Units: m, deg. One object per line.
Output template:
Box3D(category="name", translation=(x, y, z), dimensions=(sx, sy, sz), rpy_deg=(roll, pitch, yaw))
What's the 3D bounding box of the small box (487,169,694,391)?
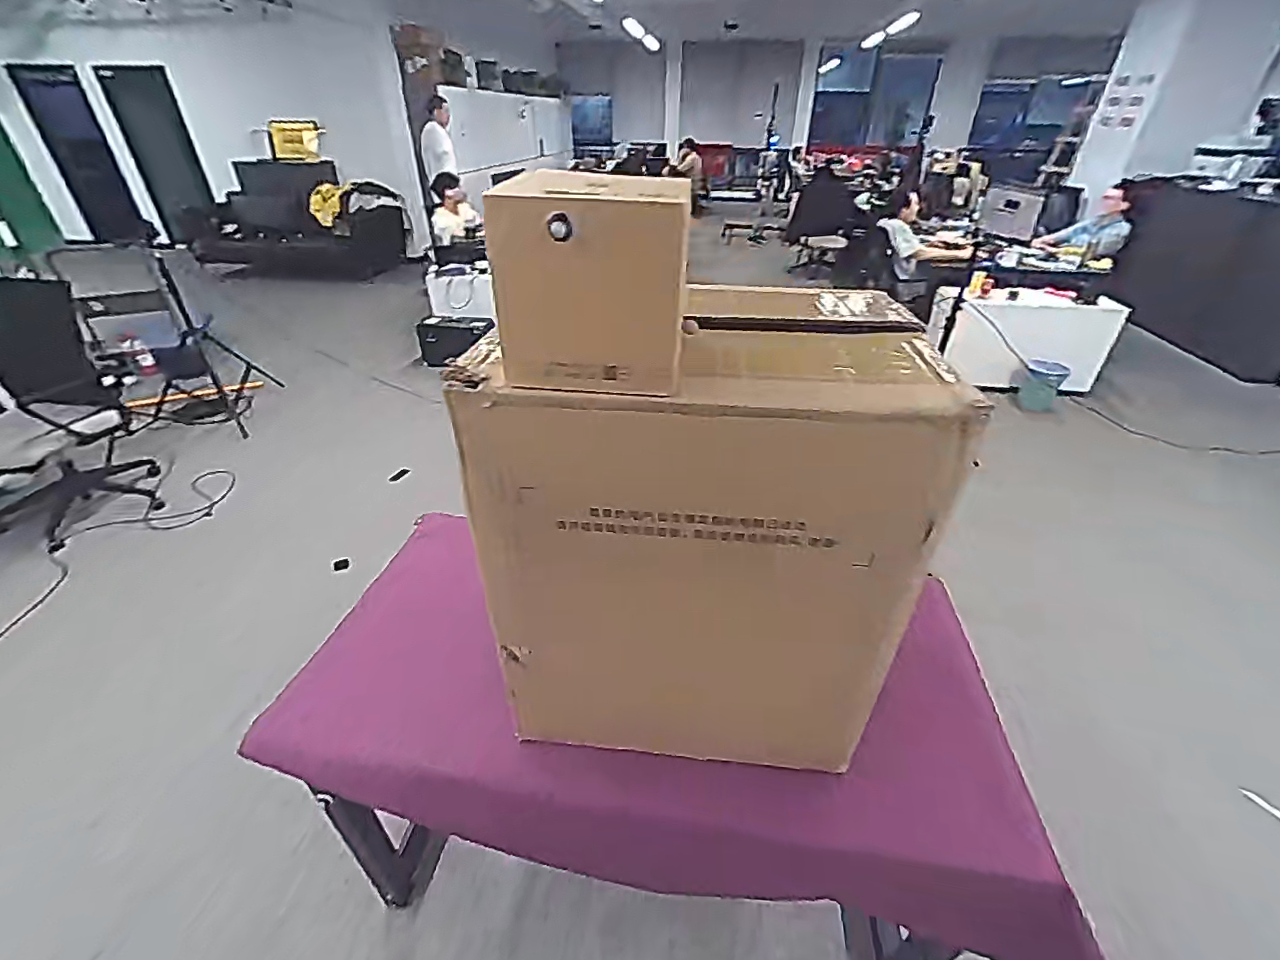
Box3D(category="small box", translation=(-0.037, -0.203, 0.535), dimensions=(0.168, 0.176, 0.179), rpy_deg=(4, 34, 4))
